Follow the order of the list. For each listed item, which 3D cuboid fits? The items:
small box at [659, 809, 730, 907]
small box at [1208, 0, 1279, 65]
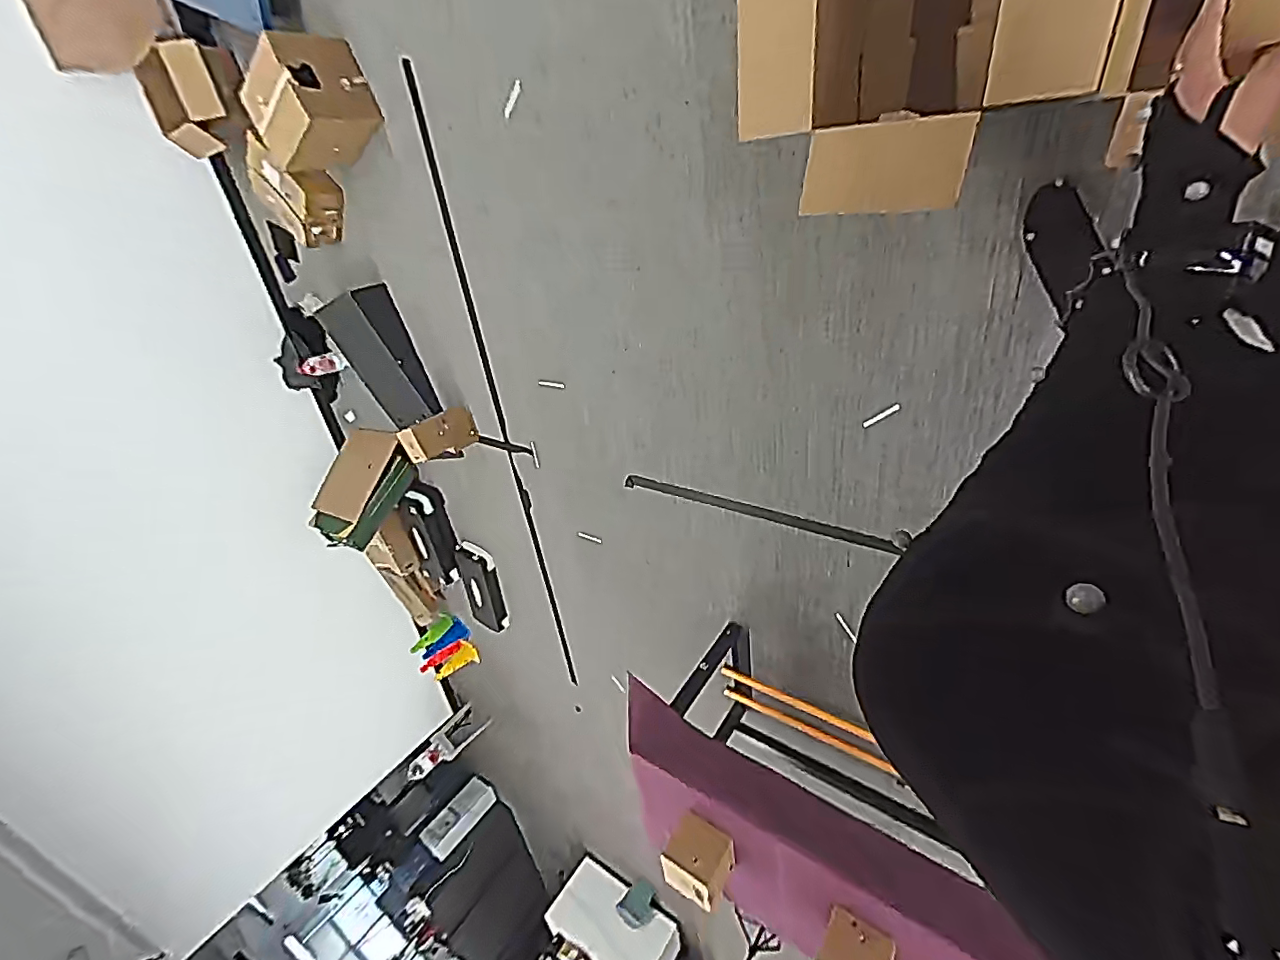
[{"bbox_3d":[0.186,1.227,1.766,0.179,0.176,0.168,14,126,35],"label":"small box"},{"bbox_3d":[0.528,-0.429,0.373,0.179,0.176,0.168,5,127,44],"label":"small box"}]
